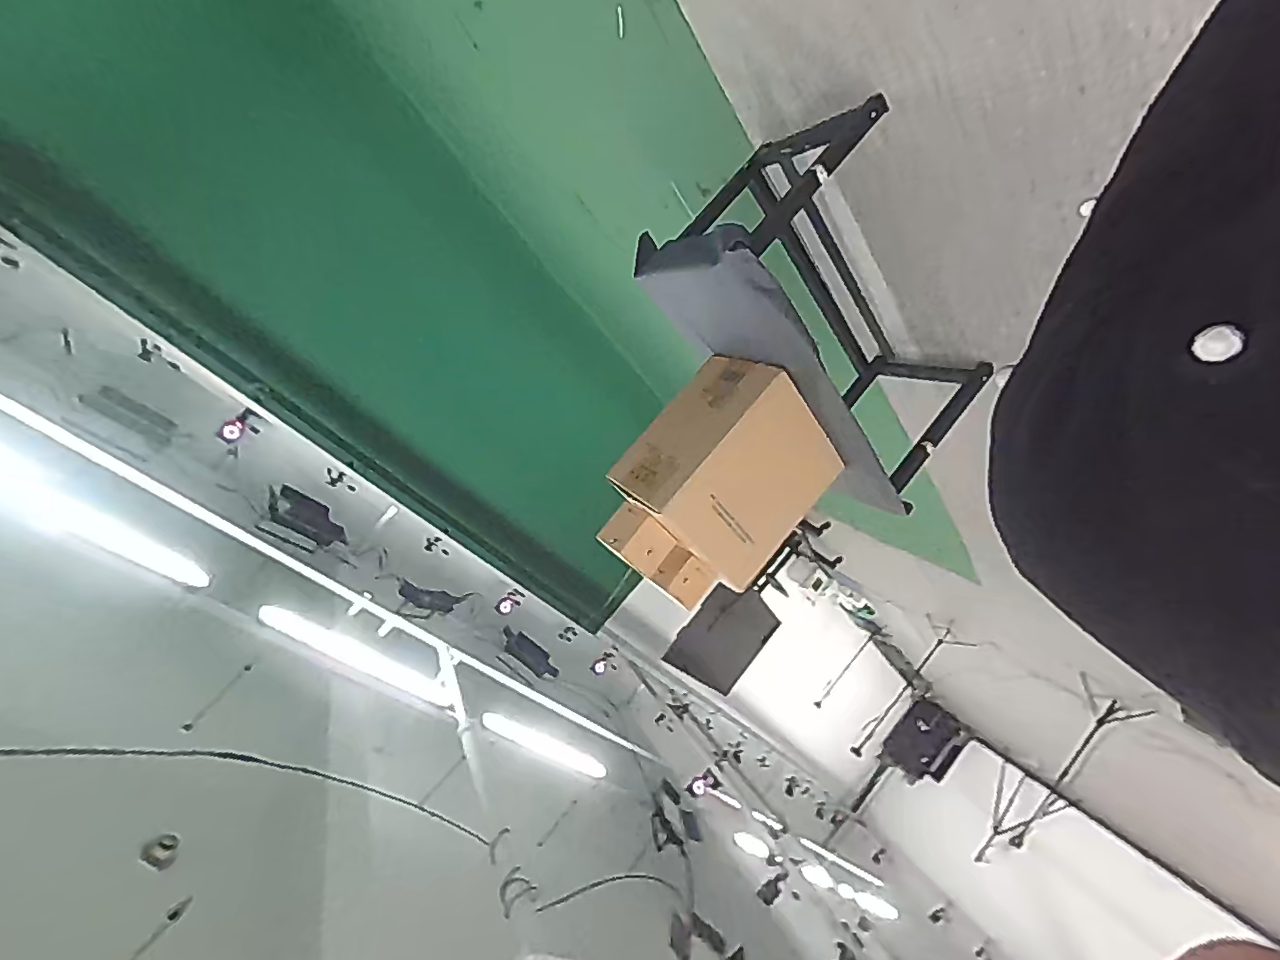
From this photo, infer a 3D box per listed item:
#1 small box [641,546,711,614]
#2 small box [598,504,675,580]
[{"bbox_3d":[0.144,0.365,2.029,0.168,0.176,0.179,47,169,-32],"label":"small box"},{"bbox_3d":[-0.008,0.213,1.890,0.179,0.176,0.168,45,169,-34],"label":"small box"}]
